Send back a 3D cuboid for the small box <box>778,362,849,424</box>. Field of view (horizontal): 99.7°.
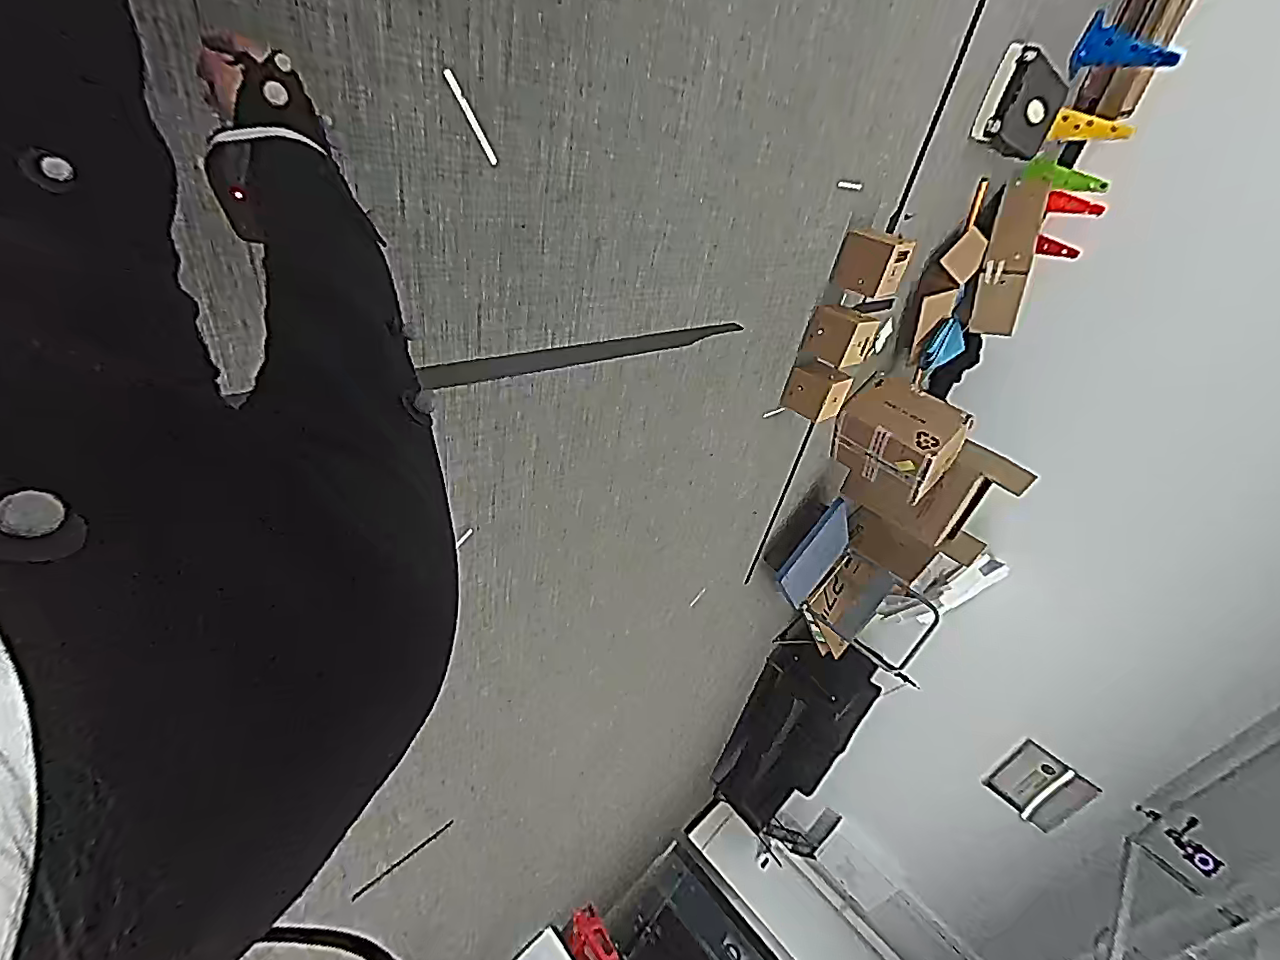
[{"bbox_3d":[0.670,-0.344,2.102,0.179,0.176,0.168,-22,137,-41],"label":"small box"}]

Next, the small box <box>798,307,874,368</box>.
[{"bbox_3d":[0.710,-0.524,1.970,0.179,0.176,0.168,-19,135,-42],"label":"small box"}]
